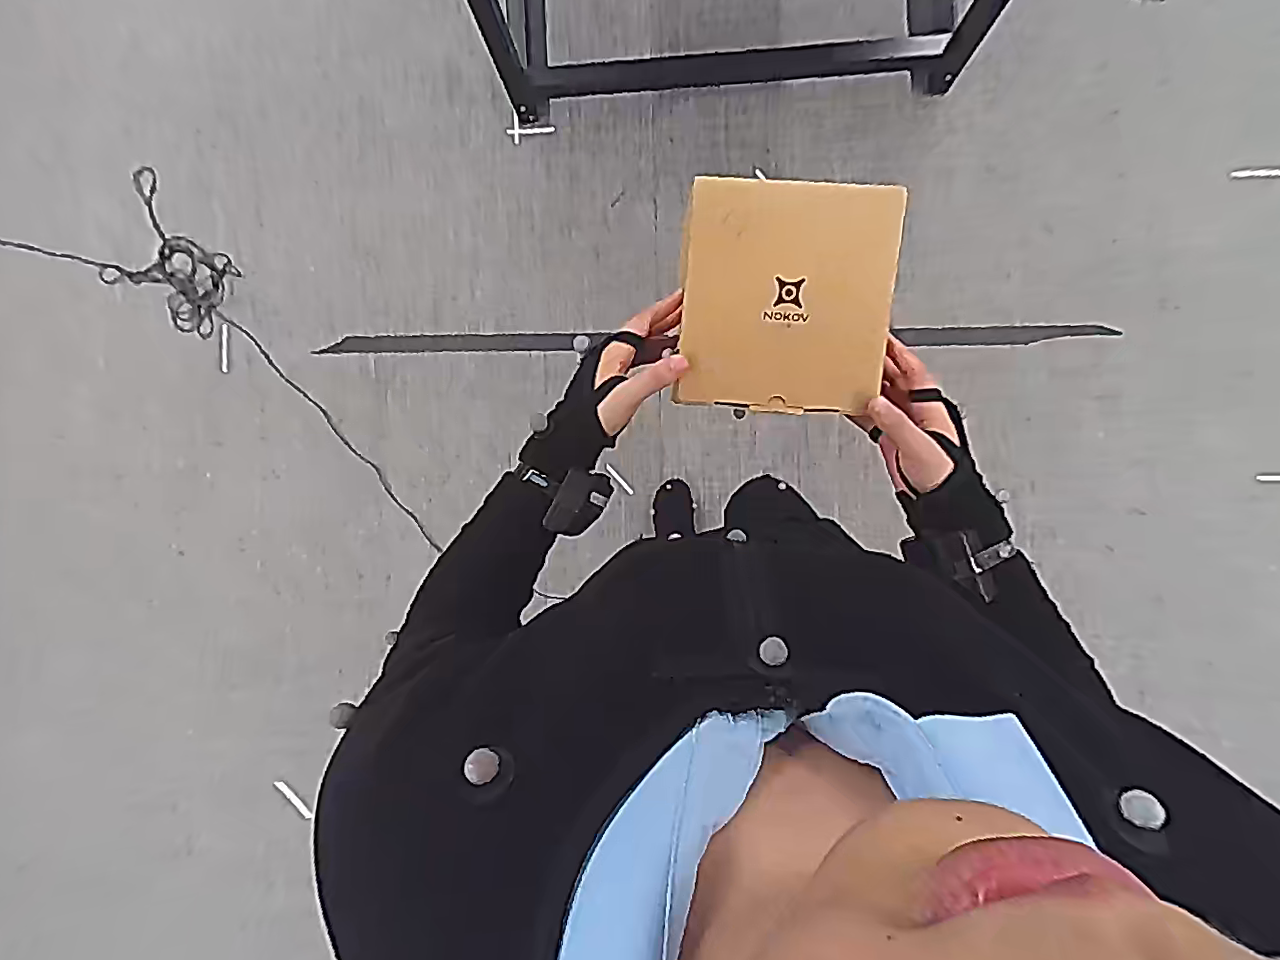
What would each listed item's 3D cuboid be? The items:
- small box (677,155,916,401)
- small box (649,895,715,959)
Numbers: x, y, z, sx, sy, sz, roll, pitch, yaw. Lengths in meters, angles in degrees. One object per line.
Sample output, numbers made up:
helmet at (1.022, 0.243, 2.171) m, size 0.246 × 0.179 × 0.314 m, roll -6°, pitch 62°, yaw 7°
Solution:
small box at (0.123, -0.166, 0.498) m, size 0.168 × 0.176 × 0.179 m, roll 4°, pitch 99°, yaw 1°
small box at (0.107, 1.217, 1.400) m, size 0.168 × 0.176 × 0.179 m, roll -3°, pitch 90°, yaw 3°
